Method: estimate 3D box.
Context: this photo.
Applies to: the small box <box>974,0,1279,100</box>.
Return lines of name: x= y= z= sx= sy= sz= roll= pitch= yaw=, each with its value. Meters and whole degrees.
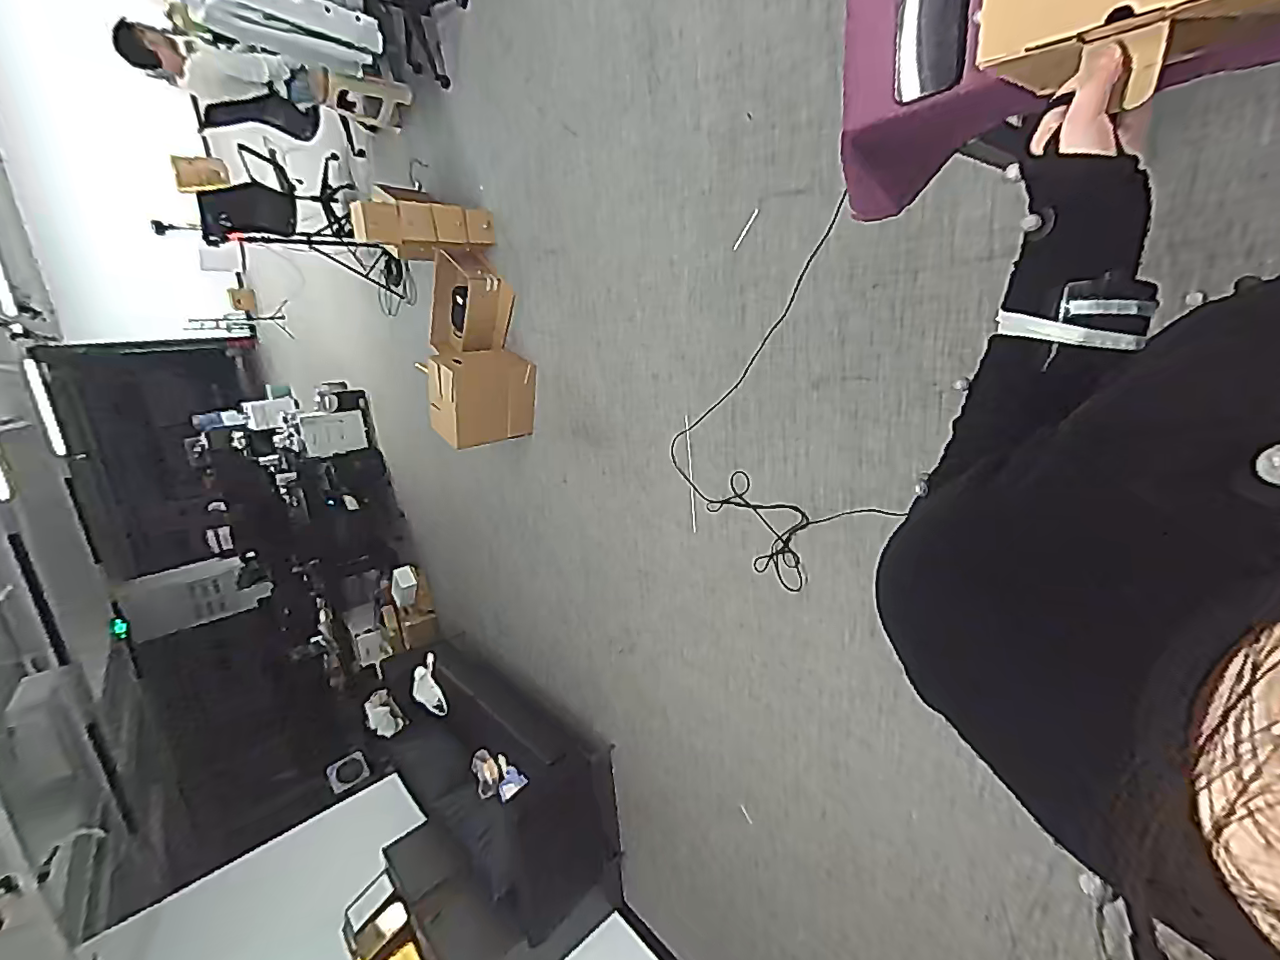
small box: x=0.364 y=-0.399 z=0.380 sx=0.168 sy=0.176 sz=0.179 roll=17 pitch=121 yaw=44
